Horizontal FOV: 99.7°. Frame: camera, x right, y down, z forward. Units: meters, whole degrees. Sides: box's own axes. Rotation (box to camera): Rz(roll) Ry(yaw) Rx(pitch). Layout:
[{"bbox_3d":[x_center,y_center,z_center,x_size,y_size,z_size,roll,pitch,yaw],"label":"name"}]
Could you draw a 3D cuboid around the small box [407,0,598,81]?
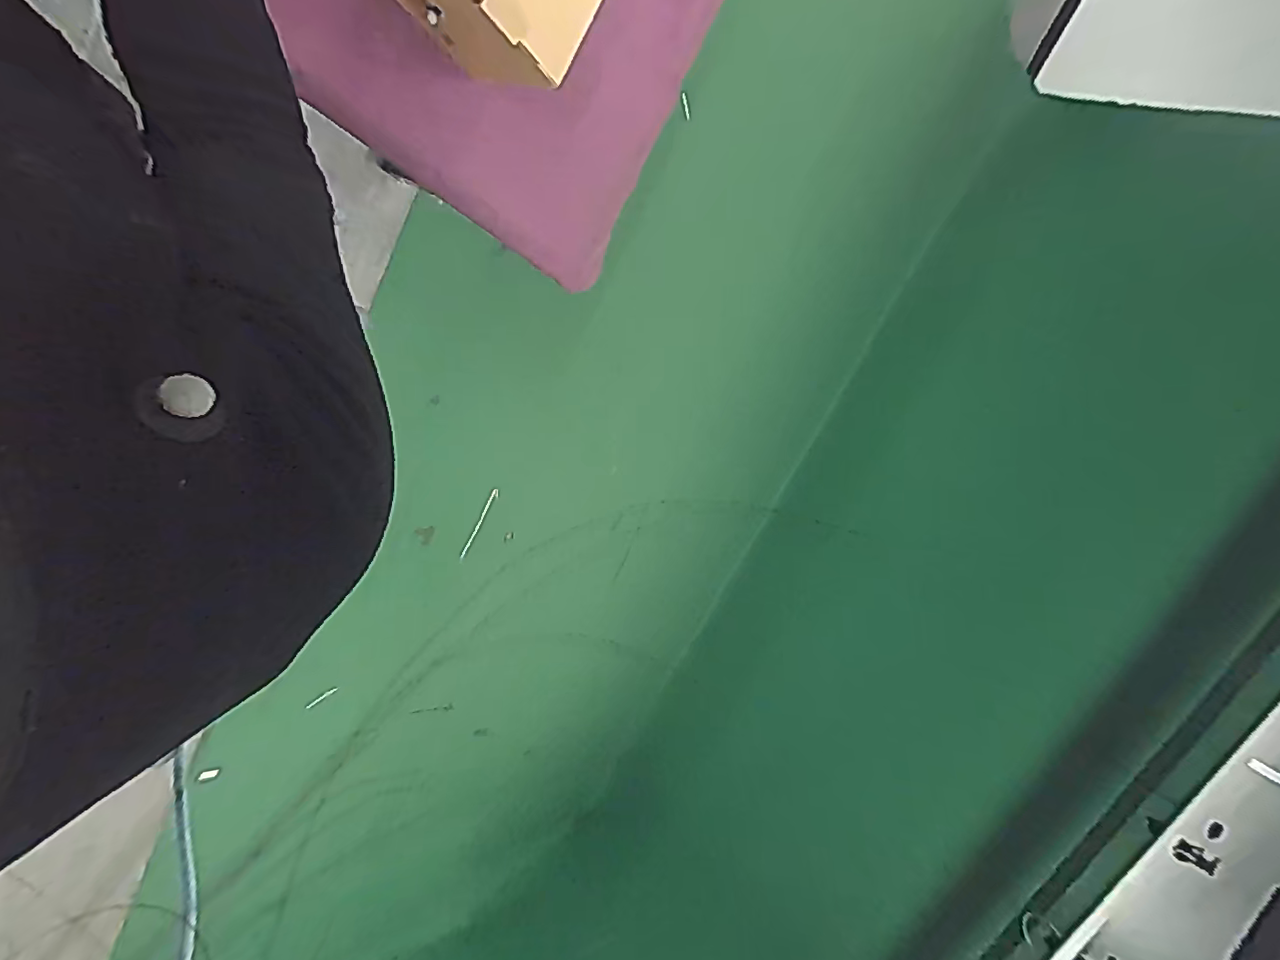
[{"bbox_3d":[-0.146,-0.553,0.545,0.168,0.176,0.179,19,104,-55],"label":"small box"}]
